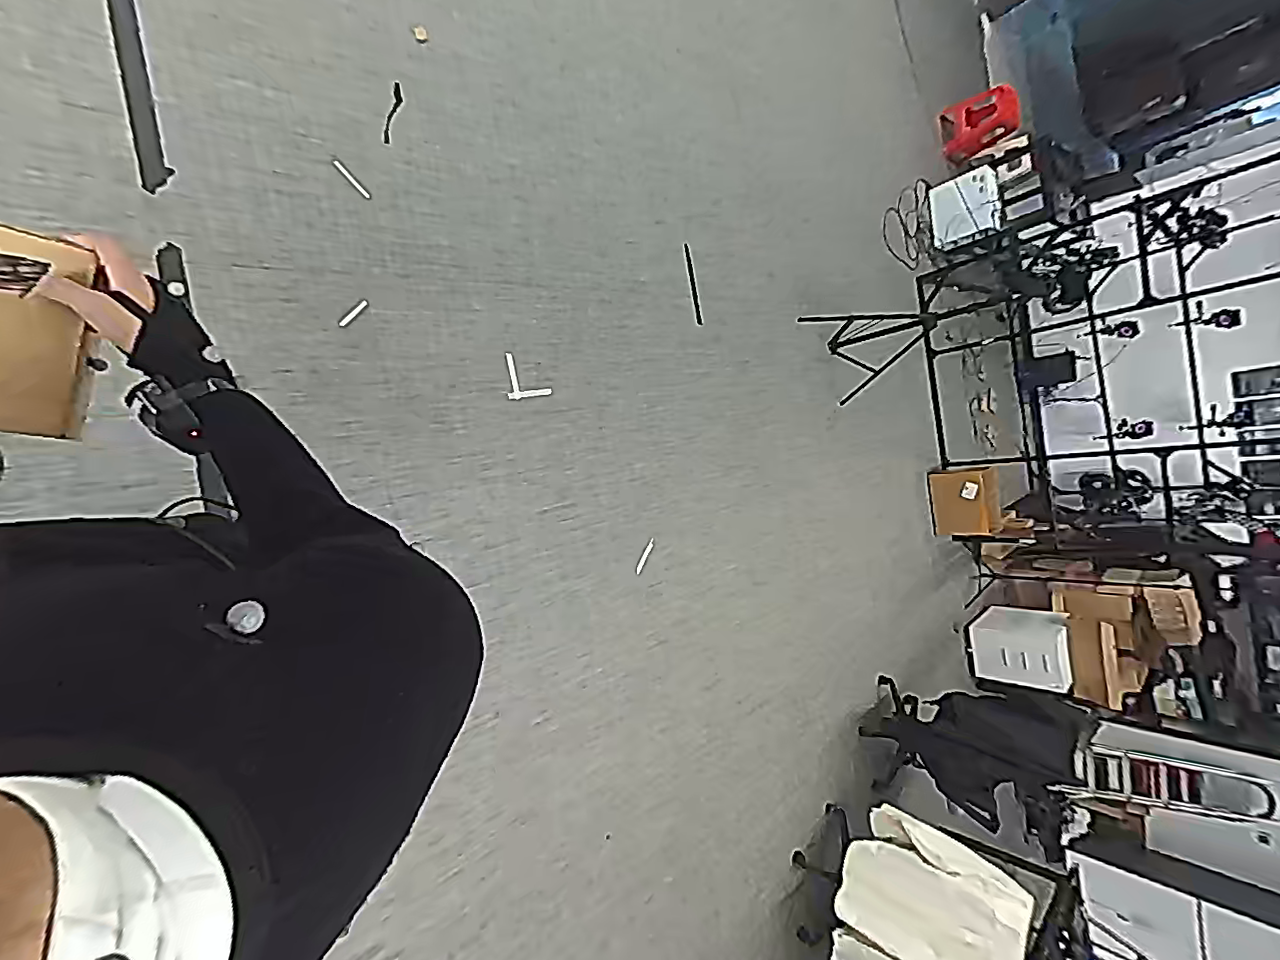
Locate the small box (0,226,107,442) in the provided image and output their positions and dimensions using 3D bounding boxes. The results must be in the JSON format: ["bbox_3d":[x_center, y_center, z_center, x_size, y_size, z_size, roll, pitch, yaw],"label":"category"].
[{"bbox_3d":[-0.618,-0.135,0.496,0.168,0.176,0.179,10,86,-42],"label":"small box"}]
